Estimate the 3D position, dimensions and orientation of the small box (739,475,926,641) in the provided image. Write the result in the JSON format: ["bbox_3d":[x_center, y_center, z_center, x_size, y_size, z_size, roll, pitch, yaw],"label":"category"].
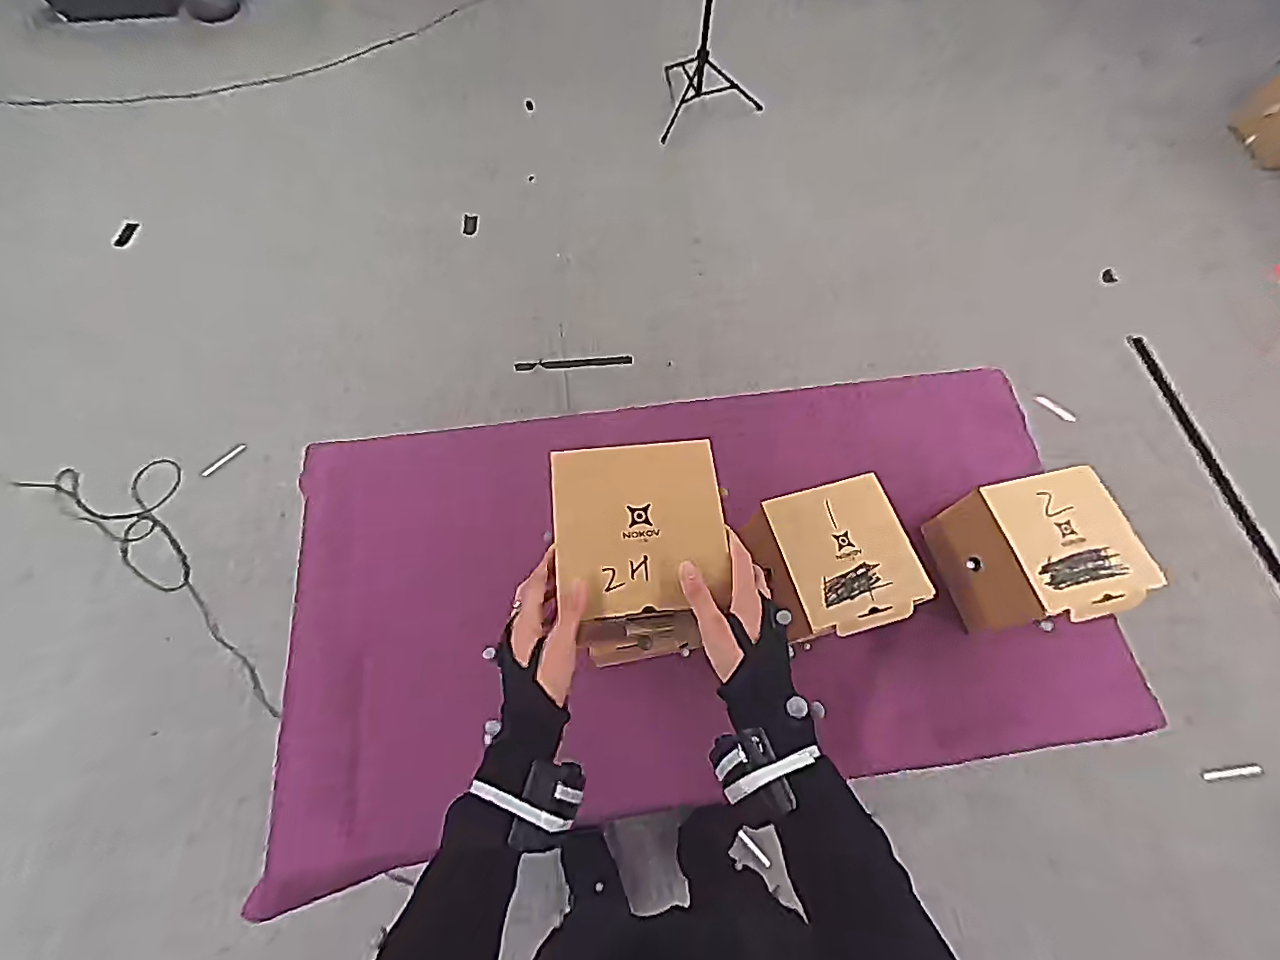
[{"bbox_3d":[0.252,0.119,0.758,0.168,0.176,0.179,-14,67,-7],"label":"small box"}]

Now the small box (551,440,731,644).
[{"bbox_3d":[-0.007,0.074,0.595,0.168,0.176,0.179,-4,67,-3],"label":"small box"}]

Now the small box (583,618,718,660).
[{"bbox_3d":[0.001,0.145,0.744,0.168,0.176,0.179,-9,67,-5],"label":"small box"}]
